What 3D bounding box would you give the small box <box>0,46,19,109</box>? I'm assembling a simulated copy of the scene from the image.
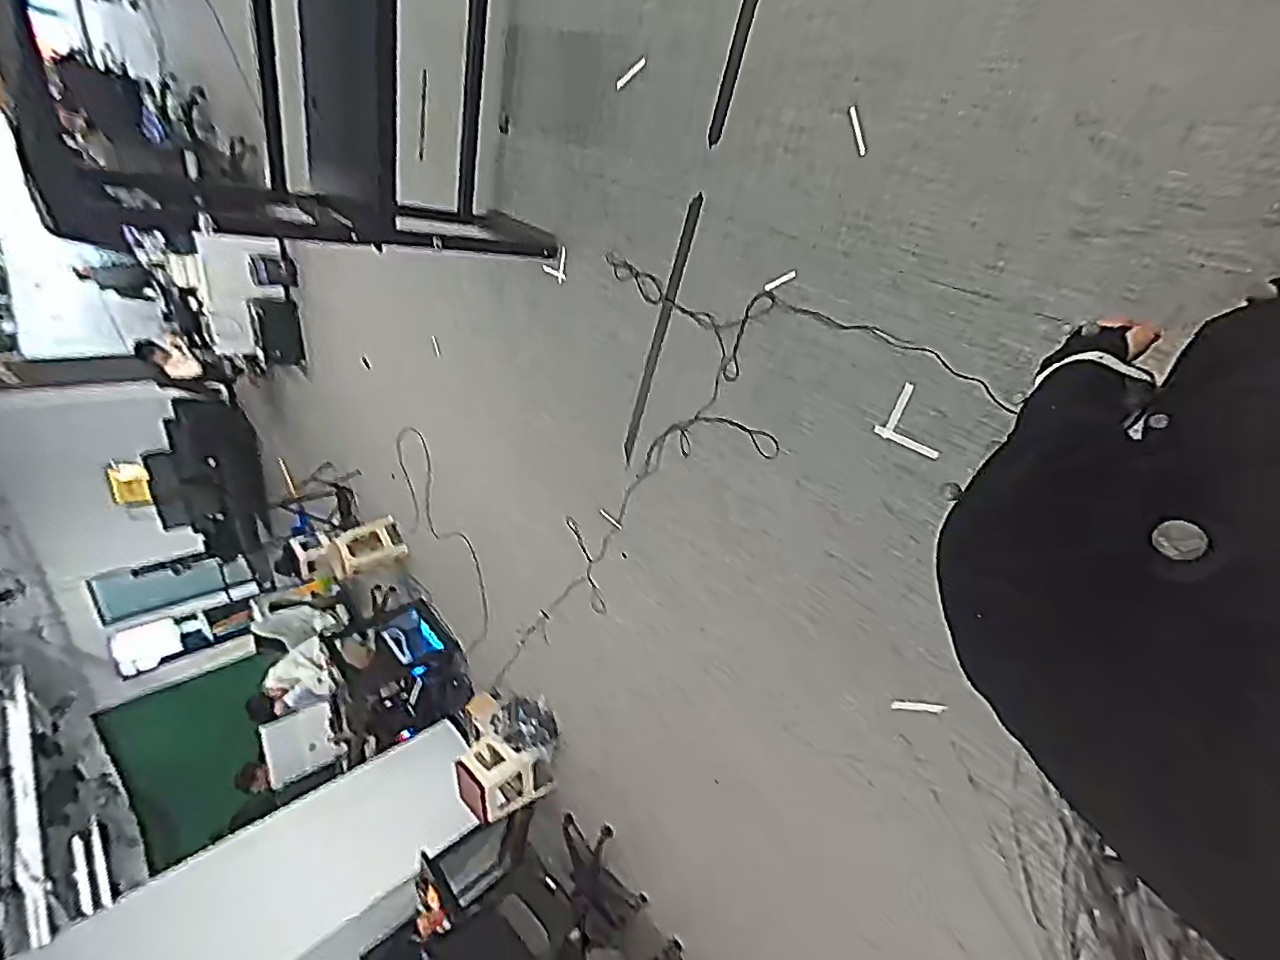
[{"bbox_3d":[-1.442,-0.897,1.120,0.168,0.176,0.179,34,125,36],"label":"small box"}]
